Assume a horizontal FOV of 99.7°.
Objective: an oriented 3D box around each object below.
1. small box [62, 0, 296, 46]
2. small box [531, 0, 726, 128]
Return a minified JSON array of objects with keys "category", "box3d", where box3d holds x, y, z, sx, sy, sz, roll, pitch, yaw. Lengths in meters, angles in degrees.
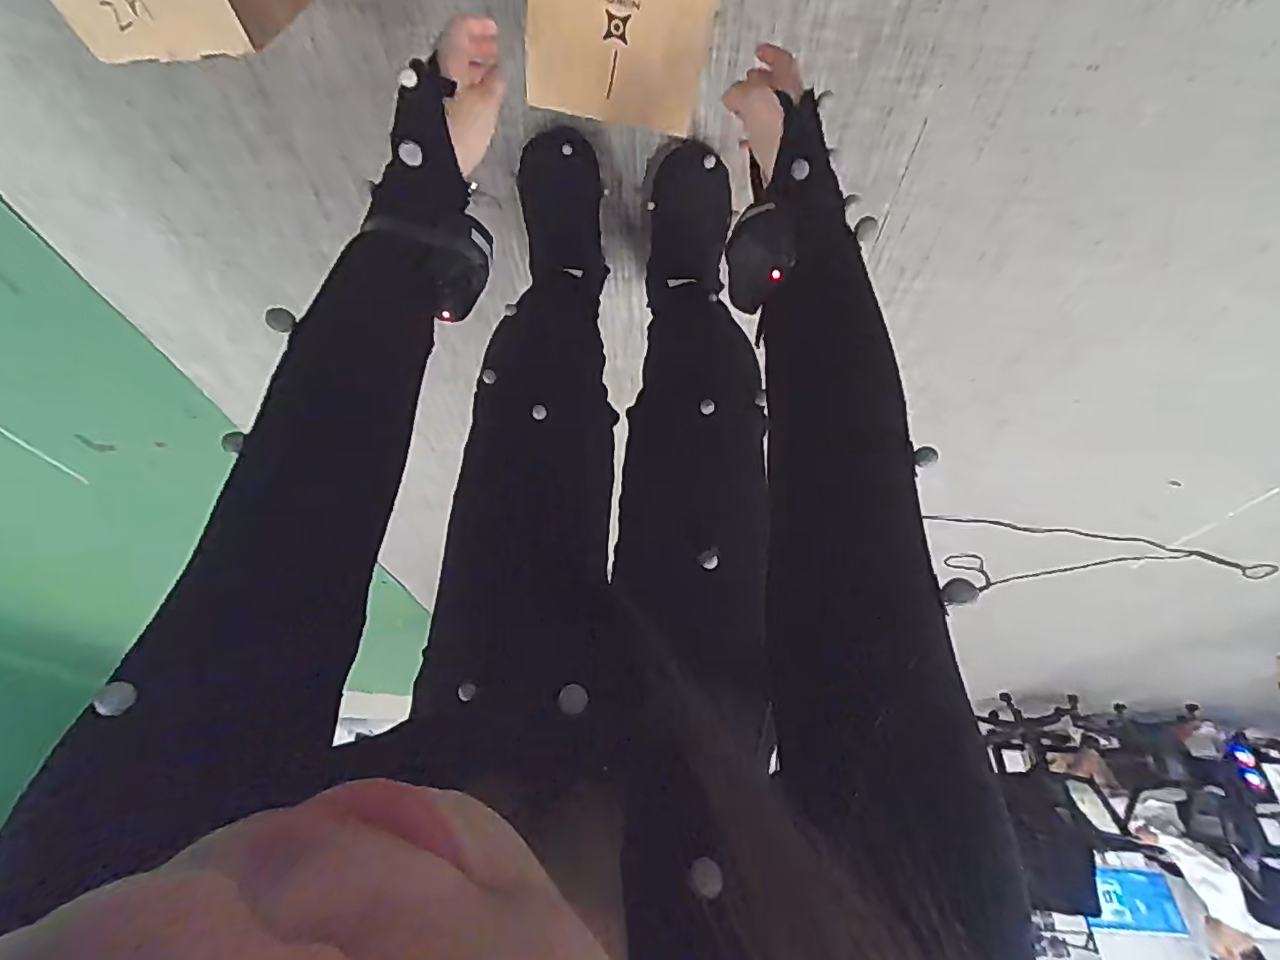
[{"category":"small box","box3d":[-0.432,-0.523,0.475,0.168,0.176,0.179,1,148,5]},{"category":"small box","box3d":[-0.006,-0.477,0.503,0.168,0.176,0.179,8,148,-7]}]
